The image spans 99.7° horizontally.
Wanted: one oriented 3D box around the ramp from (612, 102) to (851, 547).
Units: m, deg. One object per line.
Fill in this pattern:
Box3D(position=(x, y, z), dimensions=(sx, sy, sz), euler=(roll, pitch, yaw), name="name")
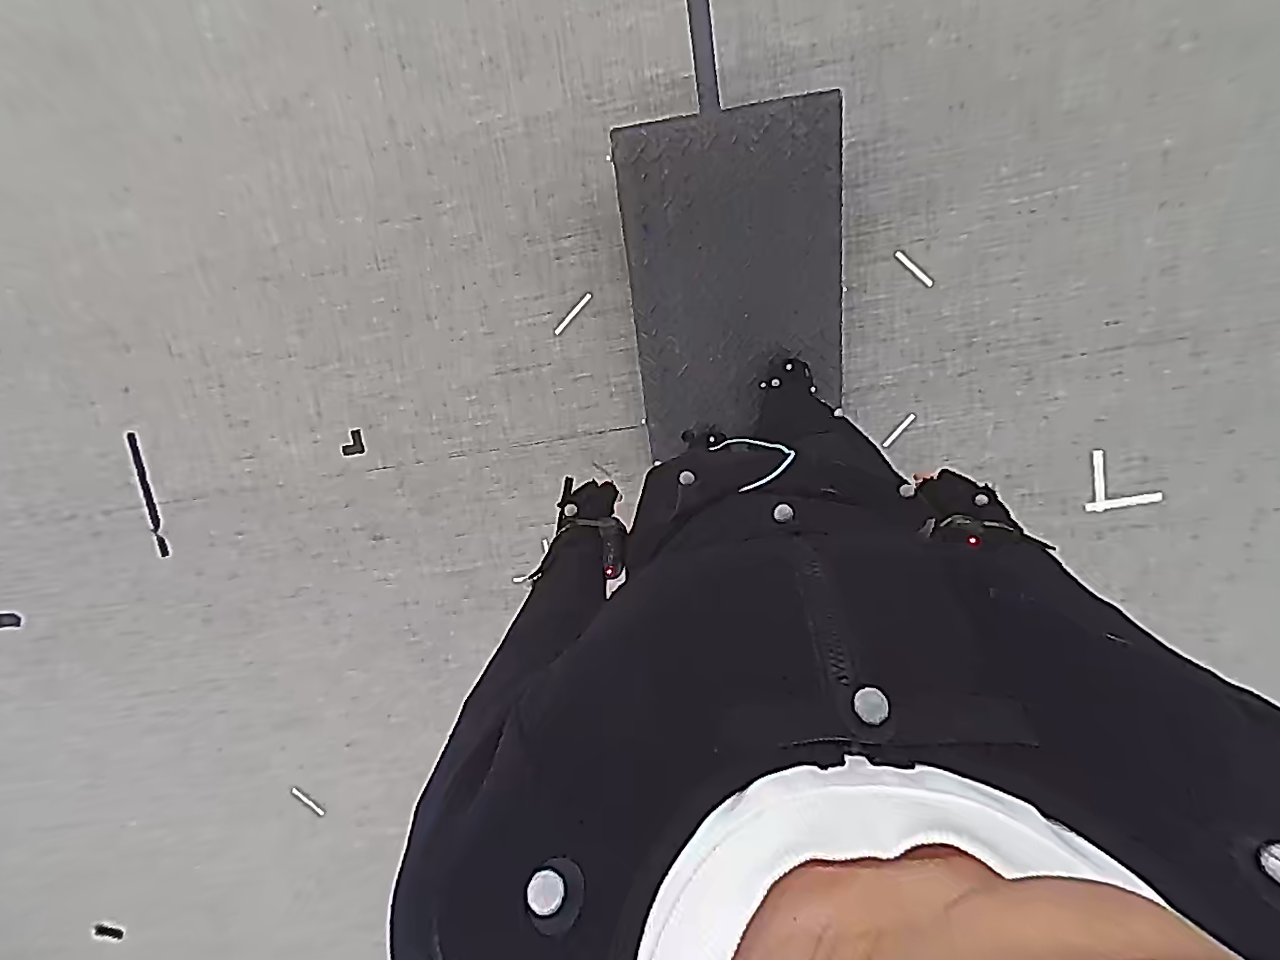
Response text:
Box3D(position=(0.254, -0.305, 1.334), dimensions=(0.509, 0.206, 0.991), euler=(-9, 99, 8), name="ramp")
